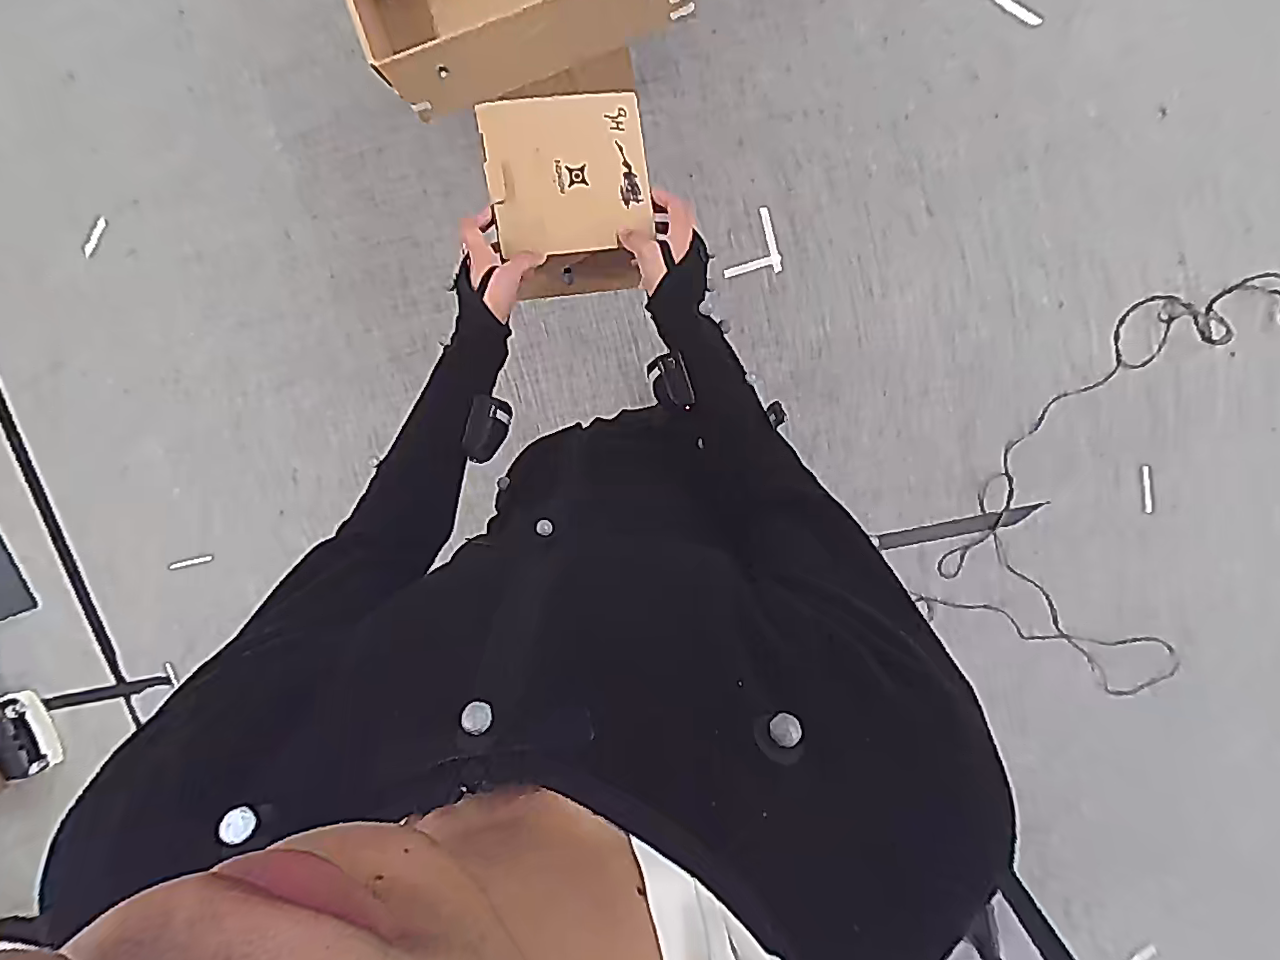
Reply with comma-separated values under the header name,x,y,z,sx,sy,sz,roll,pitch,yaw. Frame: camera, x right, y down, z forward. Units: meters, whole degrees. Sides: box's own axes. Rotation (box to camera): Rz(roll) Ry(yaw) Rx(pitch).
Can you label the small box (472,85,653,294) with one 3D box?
name,x,y,z,sx,sy,sz,roll,pitch,yaw
small box,-0.088,-0.337,0.660,0.179,0.176,0.168,-9,95,-6
